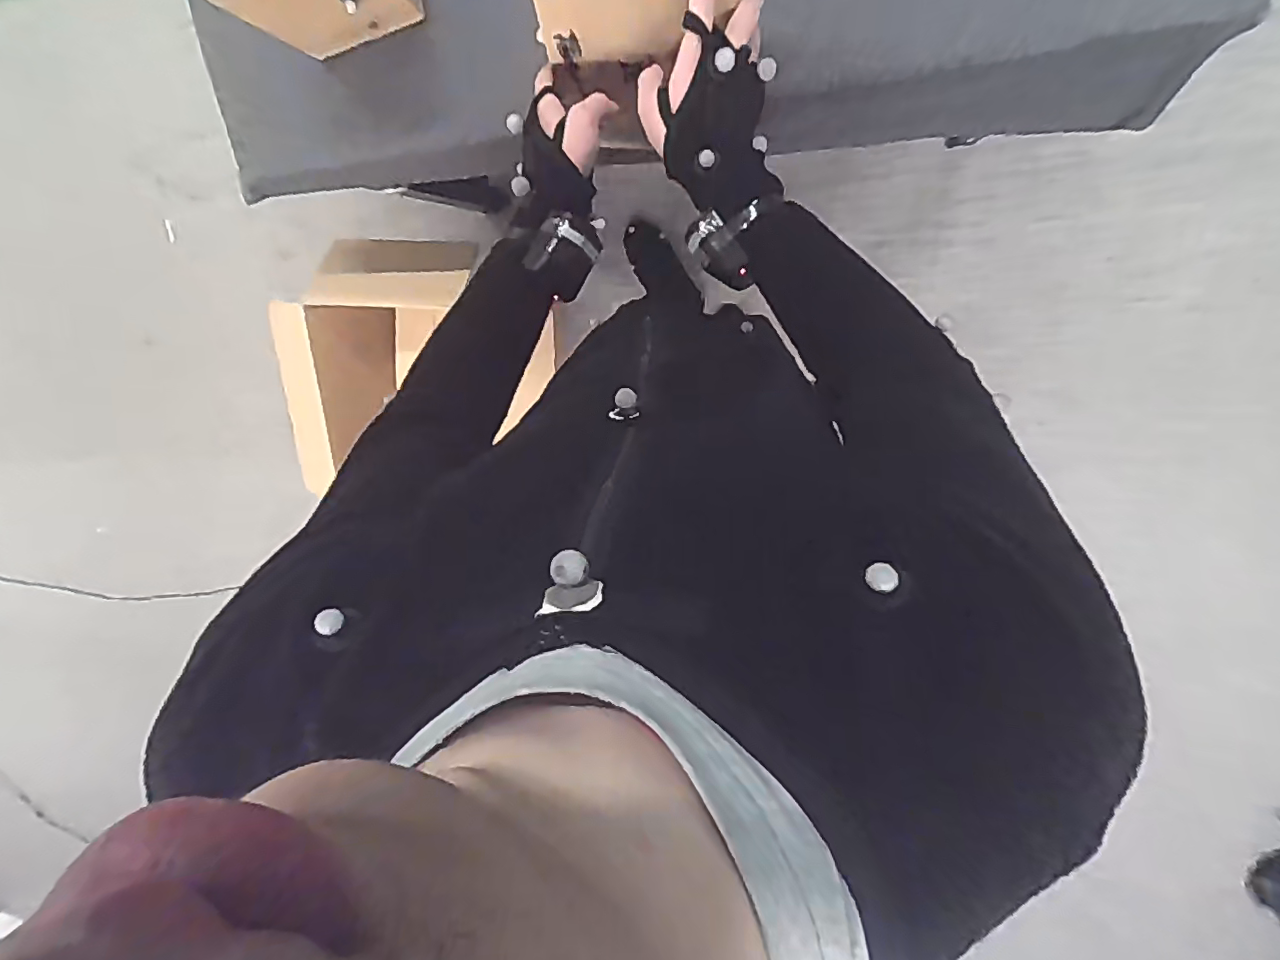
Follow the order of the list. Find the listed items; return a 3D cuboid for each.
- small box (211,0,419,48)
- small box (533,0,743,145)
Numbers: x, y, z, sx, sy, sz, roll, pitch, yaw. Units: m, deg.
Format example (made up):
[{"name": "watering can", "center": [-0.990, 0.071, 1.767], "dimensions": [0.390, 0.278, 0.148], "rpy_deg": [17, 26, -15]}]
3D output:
[{"name": "small box", "center": [-0.373, -0.614, 0.588], "dimensions": [0.168, 0.176, 0.179], "rpy_deg": [-9, 106, 13]}, {"name": "small box", "center": [0.010, -0.458, 0.516], "dimensions": [0.179, 0.168, 0.176], "rpy_deg": [6, 75, 7]}]
